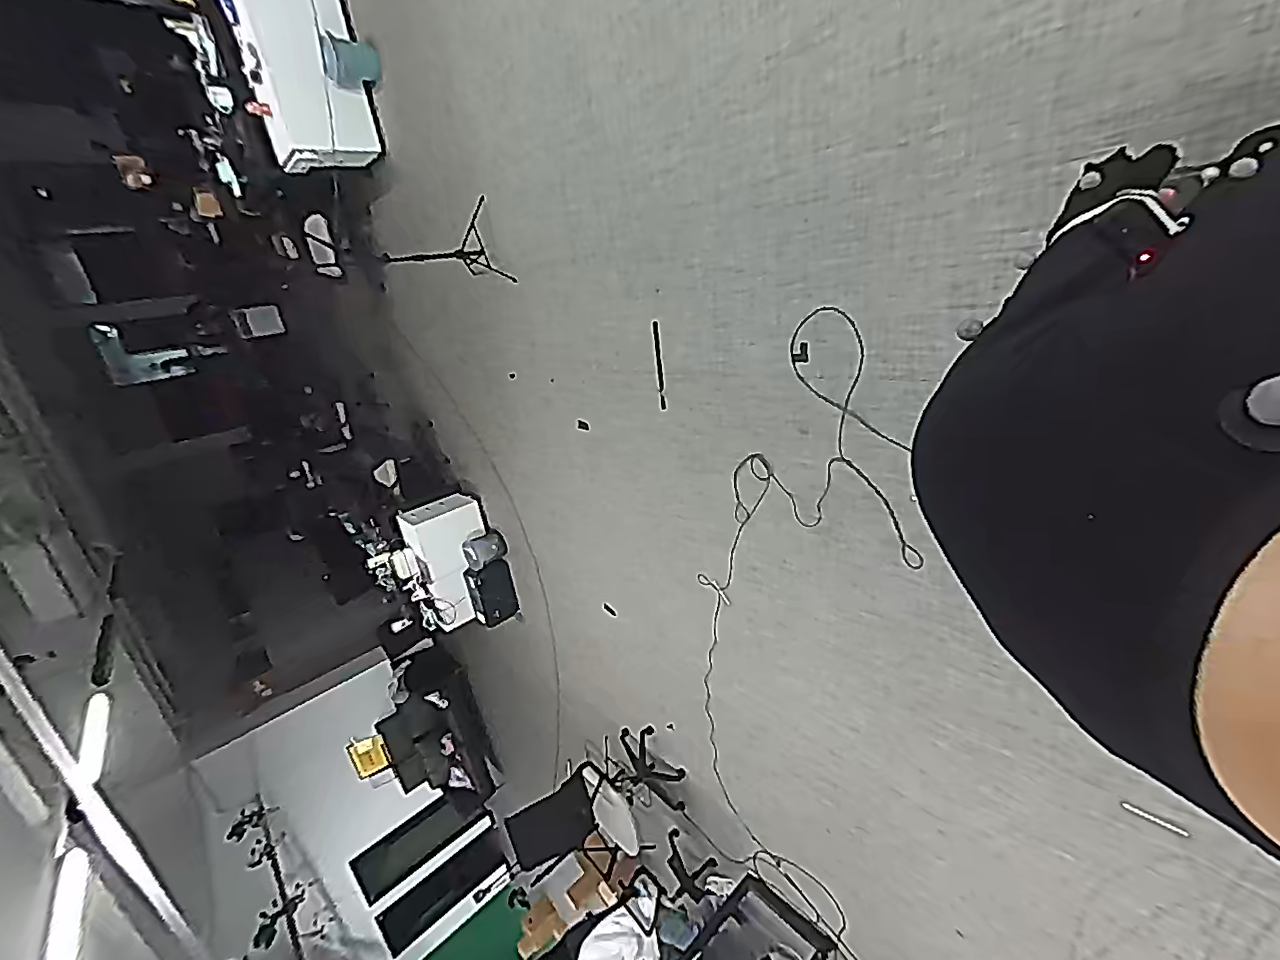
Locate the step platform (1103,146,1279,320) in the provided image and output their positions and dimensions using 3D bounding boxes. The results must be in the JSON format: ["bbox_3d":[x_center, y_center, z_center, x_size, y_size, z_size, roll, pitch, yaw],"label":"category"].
[{"bbox_3d":[1.232,-0.443,0.914,0.684,0.204,0.286,12,119,46],"label":"step platform"}]
